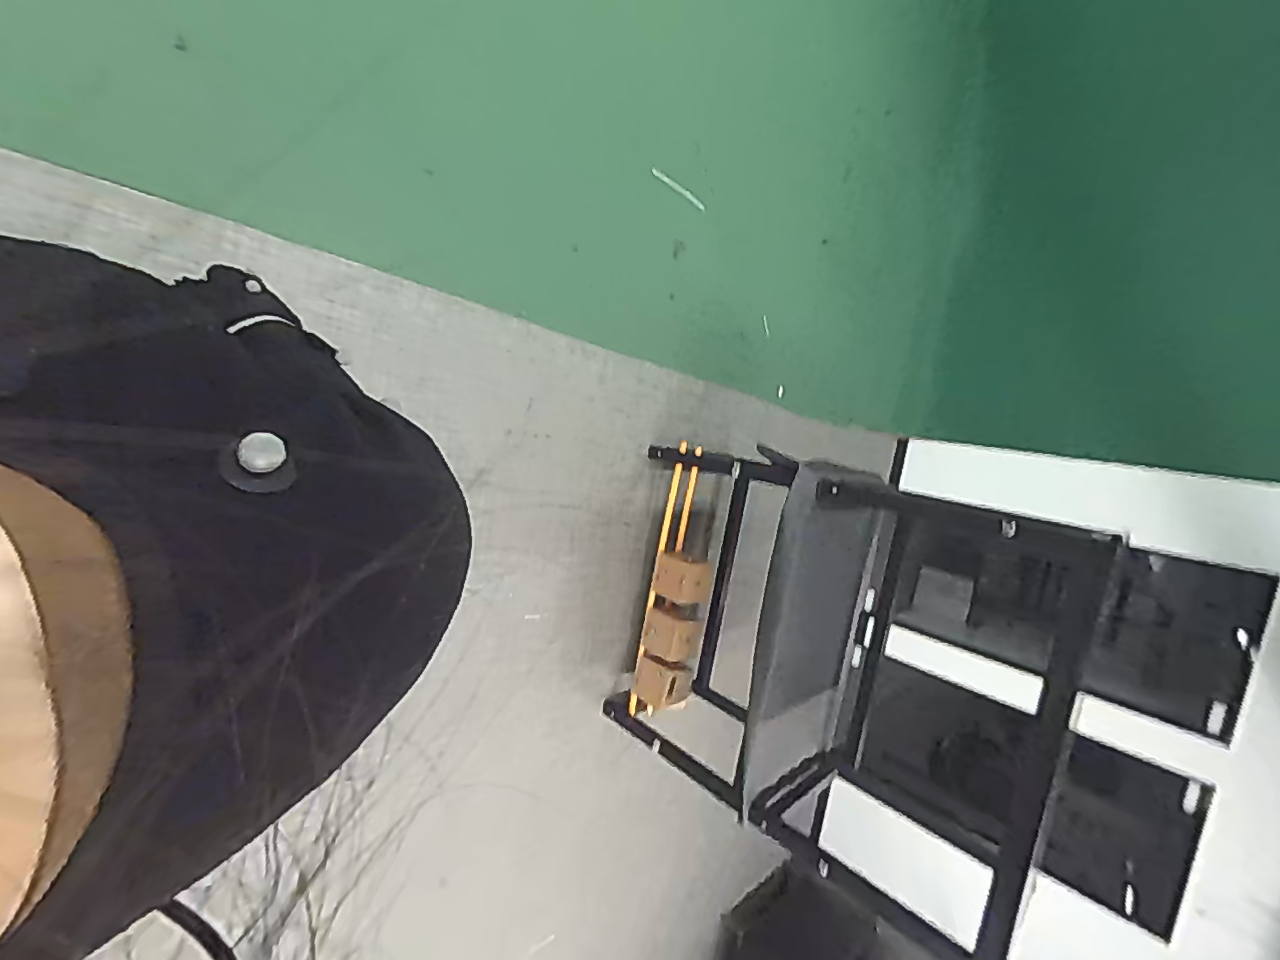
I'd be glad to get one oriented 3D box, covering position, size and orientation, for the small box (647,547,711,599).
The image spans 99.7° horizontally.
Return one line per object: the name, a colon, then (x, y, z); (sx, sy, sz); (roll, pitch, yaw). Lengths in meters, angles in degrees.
small box: (0.159, 0.378, 2.222); (0.179, 0.176, 0.168); (7, 97, -44)
